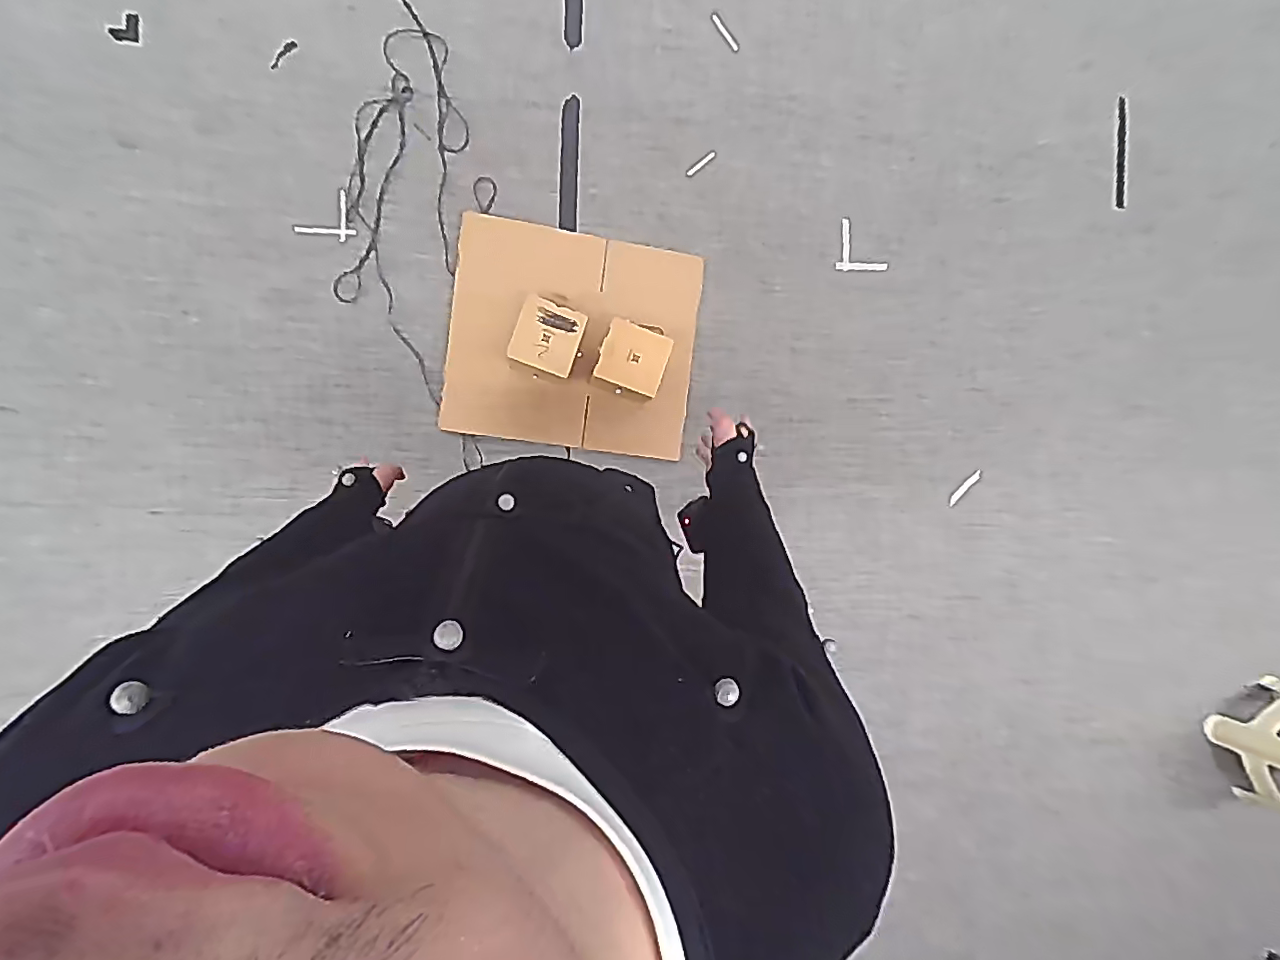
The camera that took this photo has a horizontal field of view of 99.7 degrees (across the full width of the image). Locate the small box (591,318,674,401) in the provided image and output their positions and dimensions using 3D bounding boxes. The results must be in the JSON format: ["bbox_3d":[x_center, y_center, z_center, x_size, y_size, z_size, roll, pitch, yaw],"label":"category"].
[{"bbox_3d":[-0.026,-0.328,1.511,0.179,0.176,0.168,20,89,-8],"label":"small box"}]
